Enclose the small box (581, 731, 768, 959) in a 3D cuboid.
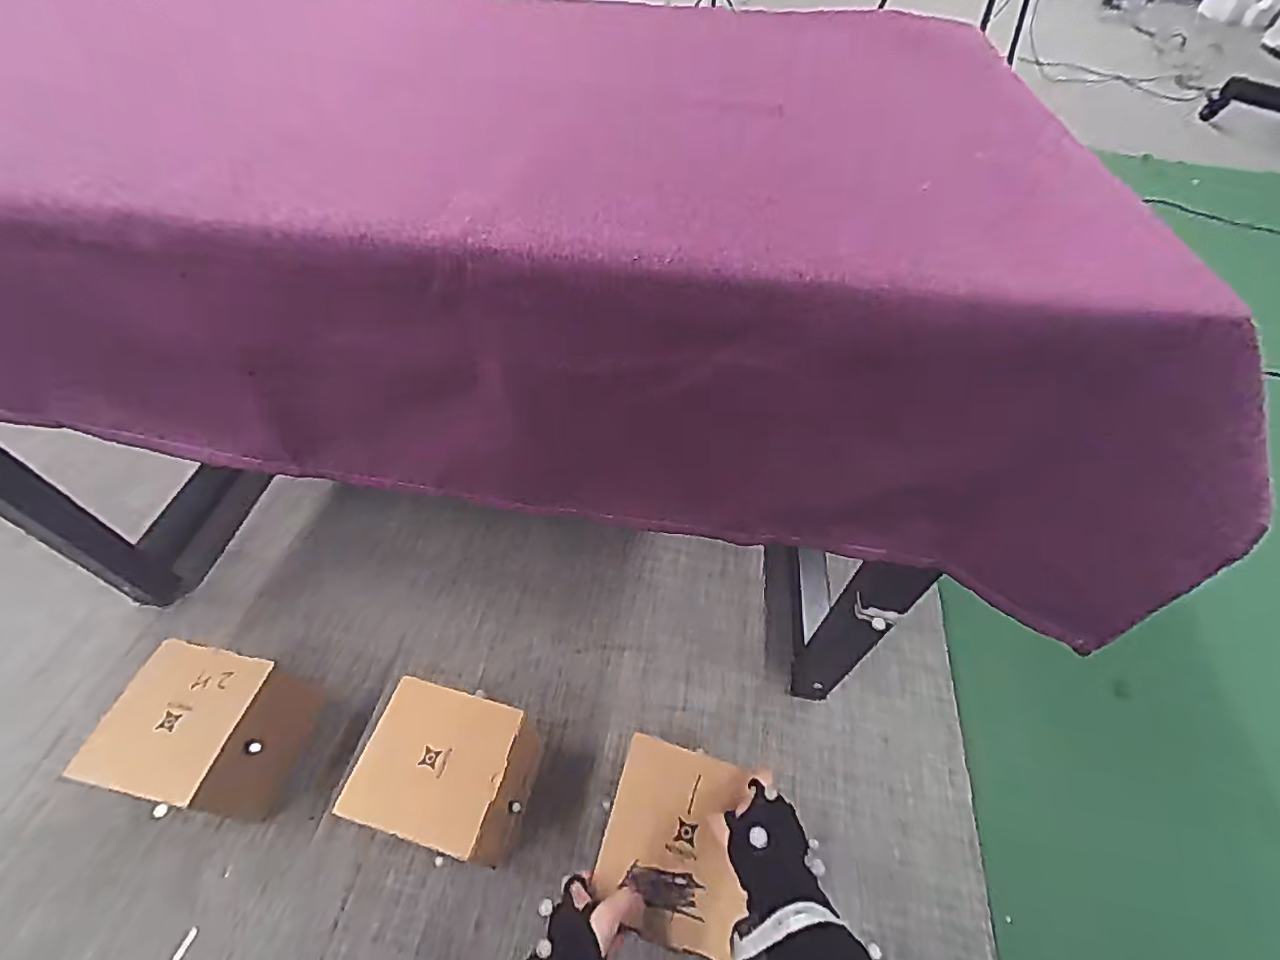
[{"bbox_3d":[0.043,0.427,0.645,0.168,0.176,0.179,14,58,10],"label":"small box"}]
